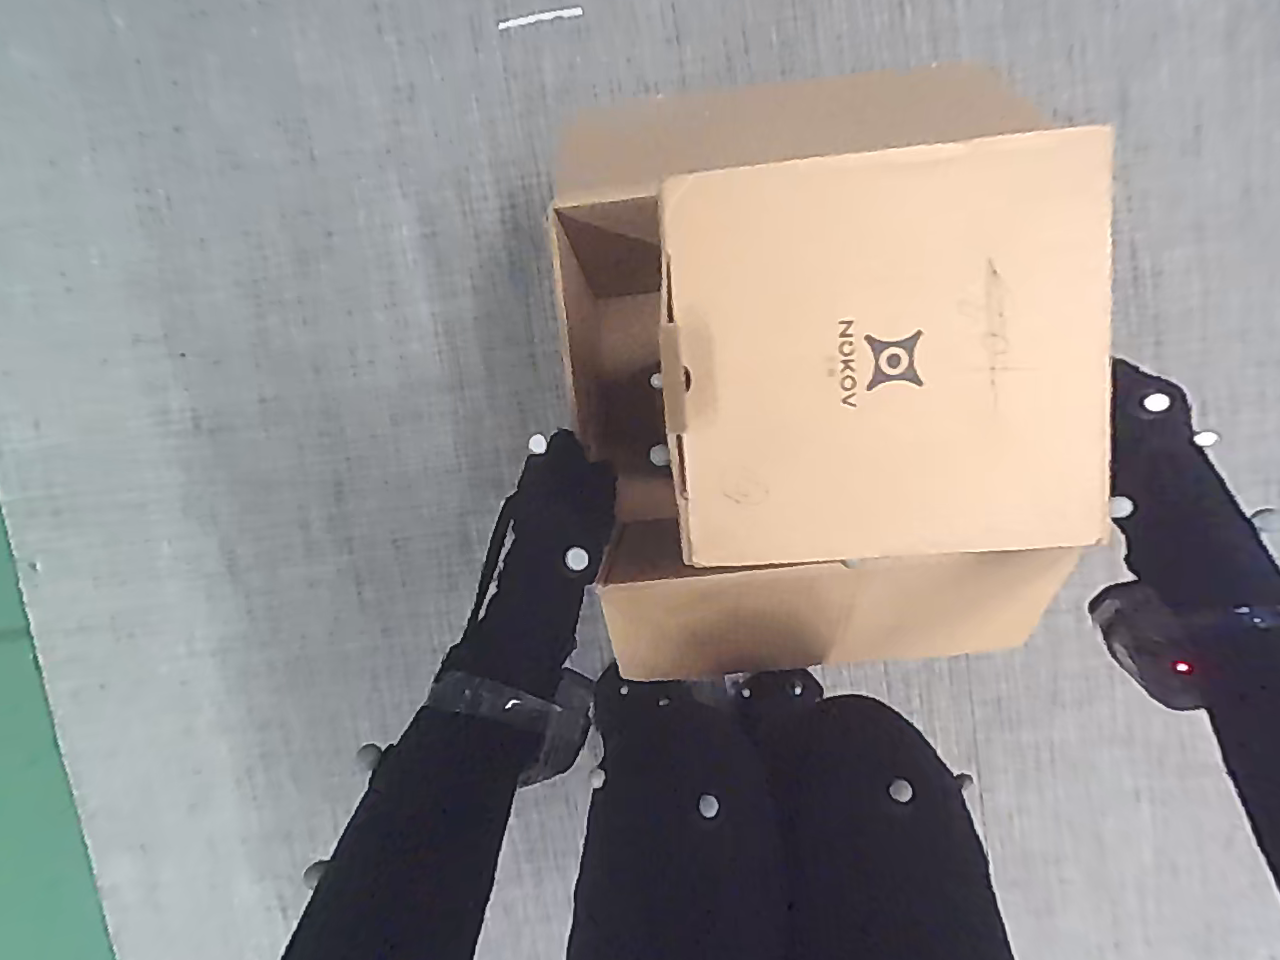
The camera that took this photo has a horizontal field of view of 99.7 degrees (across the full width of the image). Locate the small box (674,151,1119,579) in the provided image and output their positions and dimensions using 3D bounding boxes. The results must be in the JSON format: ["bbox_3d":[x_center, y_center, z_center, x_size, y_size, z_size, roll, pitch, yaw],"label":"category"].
[{"bbox_3d":[0.113,-0.051,0.306,0.179,0.176,0.168,-6,96,3],"label":"small box"}]
